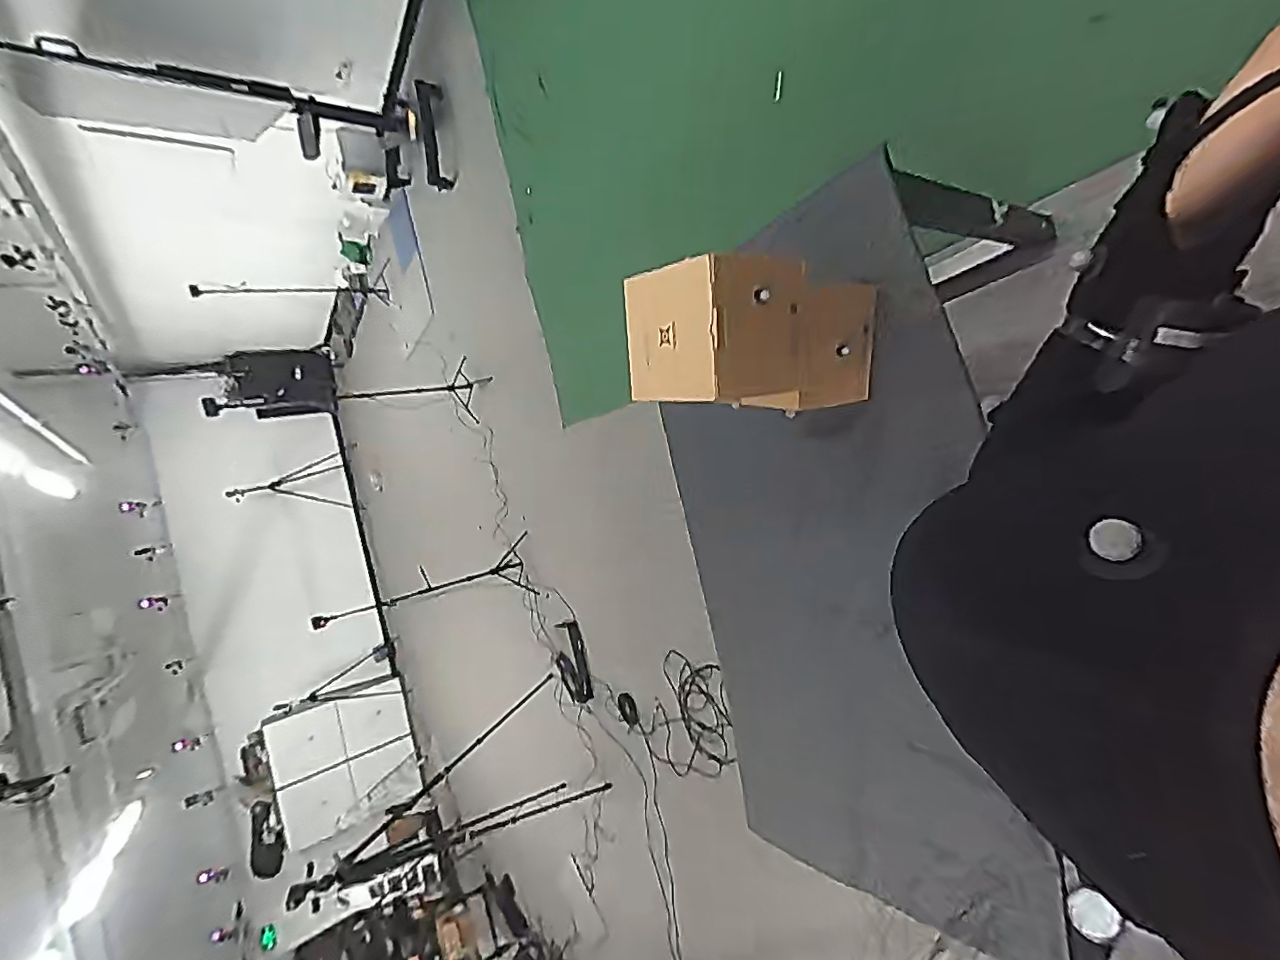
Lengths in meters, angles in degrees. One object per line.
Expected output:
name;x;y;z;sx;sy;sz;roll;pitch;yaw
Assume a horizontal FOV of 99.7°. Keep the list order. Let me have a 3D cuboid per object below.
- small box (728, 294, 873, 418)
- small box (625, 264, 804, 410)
small box;0.230;-0.193;0.824;0.179;0.176;0.168;18;114;52
small box;0.102;-0.184;0.722;0.179;0.176;0.168;10;107;54
